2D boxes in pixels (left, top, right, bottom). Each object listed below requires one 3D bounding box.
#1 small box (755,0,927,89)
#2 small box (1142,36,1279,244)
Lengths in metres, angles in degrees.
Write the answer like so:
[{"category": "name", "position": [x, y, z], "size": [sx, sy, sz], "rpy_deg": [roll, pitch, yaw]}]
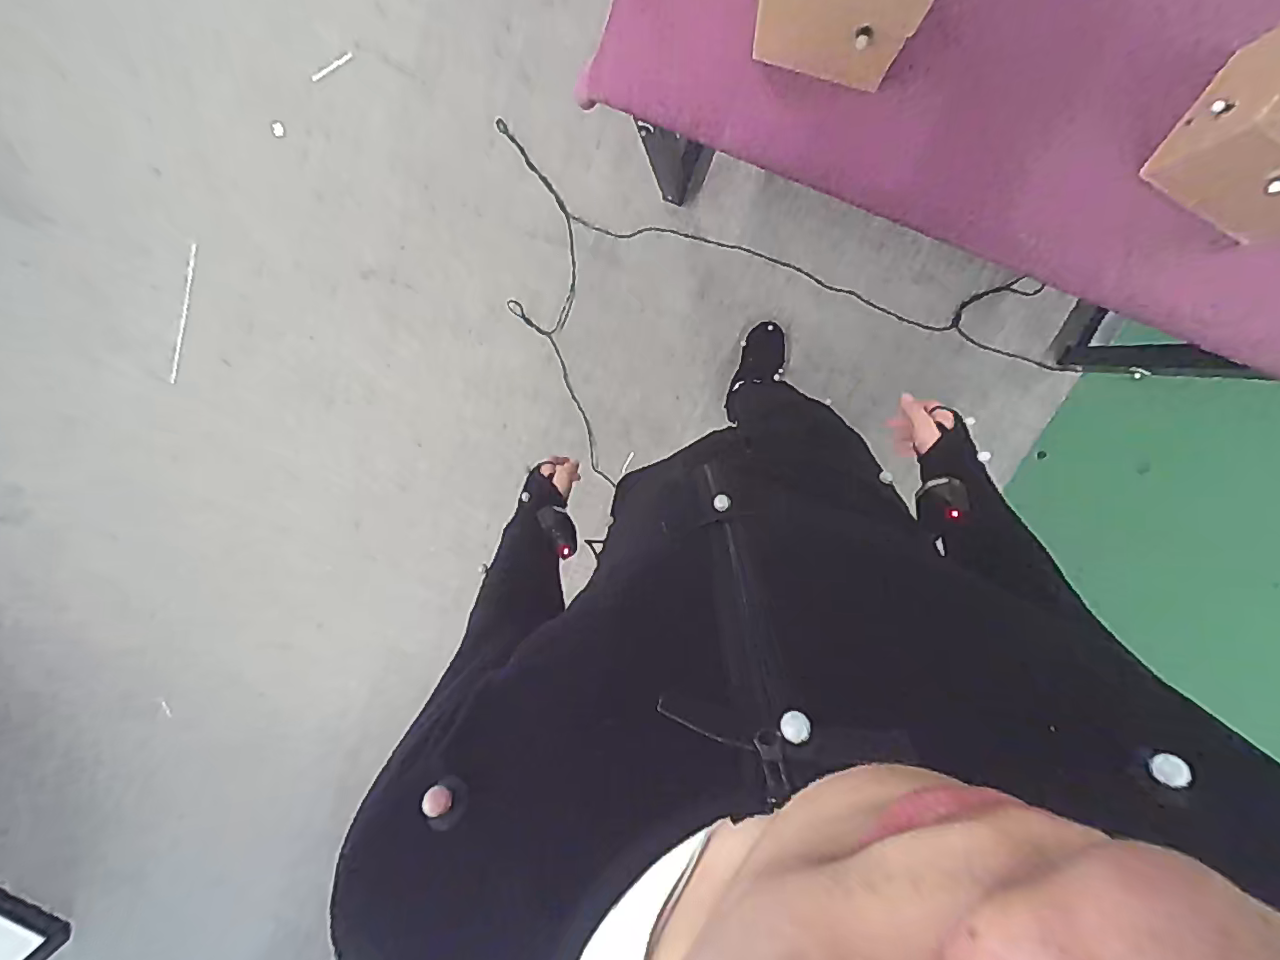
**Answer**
[{"category": "small box", "position": [0.249, -0.602, 0.637], "size": [0.179, 0.176, 0.168], "rpy_deg": [19, 105, 4]}, {"category": "small box", "position": [0.753, -0.396, 0.615], "size": [0.179, 0.176, 0.168], "rpy_deg": [34, 105, -1]}]
